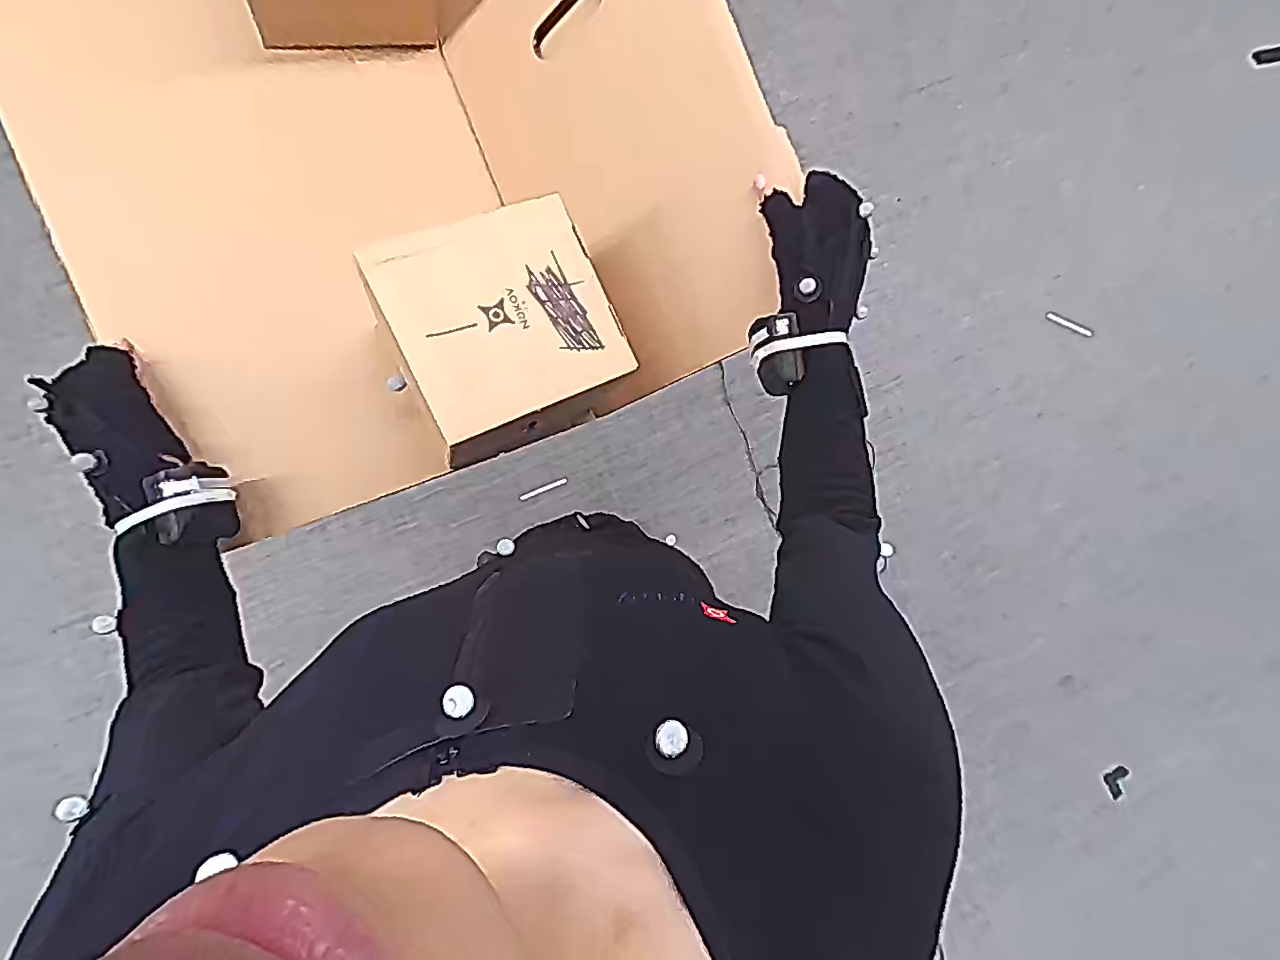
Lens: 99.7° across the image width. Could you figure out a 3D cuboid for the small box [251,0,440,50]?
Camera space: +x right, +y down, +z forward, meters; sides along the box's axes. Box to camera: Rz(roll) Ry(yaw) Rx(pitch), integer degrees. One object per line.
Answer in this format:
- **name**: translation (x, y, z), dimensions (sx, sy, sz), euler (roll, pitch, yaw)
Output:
- **small box**: translation (-0.295, -0.542, 0.500), dimensions (0.179, 0.176, 0.168), euler (-18, 91, -21)
